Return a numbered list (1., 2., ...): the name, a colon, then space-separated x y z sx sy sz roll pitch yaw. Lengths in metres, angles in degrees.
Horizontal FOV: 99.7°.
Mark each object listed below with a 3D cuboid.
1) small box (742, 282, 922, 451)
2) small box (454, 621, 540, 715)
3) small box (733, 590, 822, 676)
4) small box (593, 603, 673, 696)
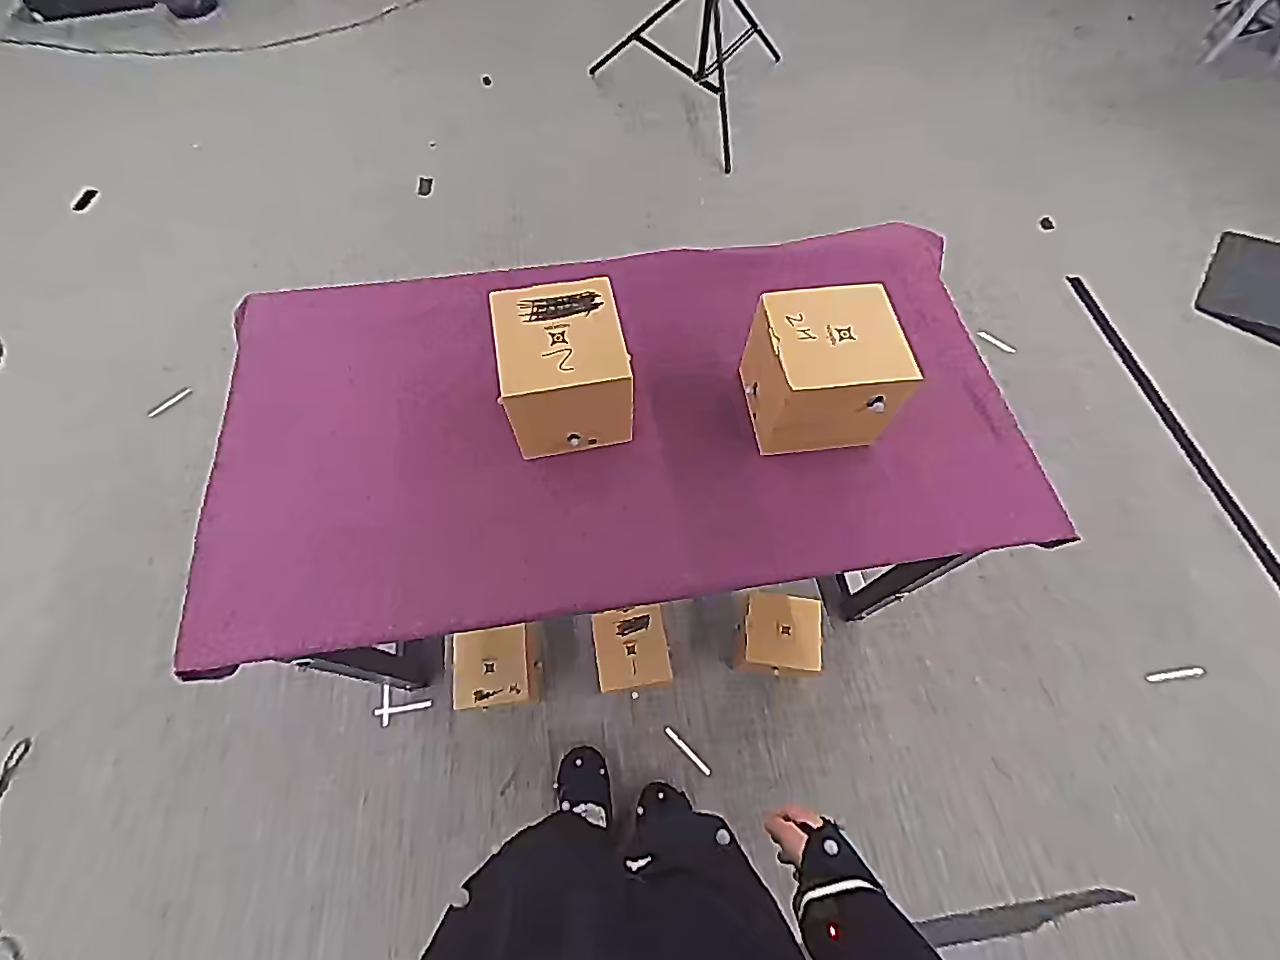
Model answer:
1. small box: 0.259 -0.156 0.777 0.179 0.176 0.168 -6 63 -3
2. small box: -0.334 0.450 1.286 0.168 0.176 0.179 -6 63 -4
3. small box: 0.335 0.380 1.330 0.179 0.176 0.168 7 65 4
4. small box: -0.020 0.413 1.307 0.168 0.176 0.179 -8 66 -5
